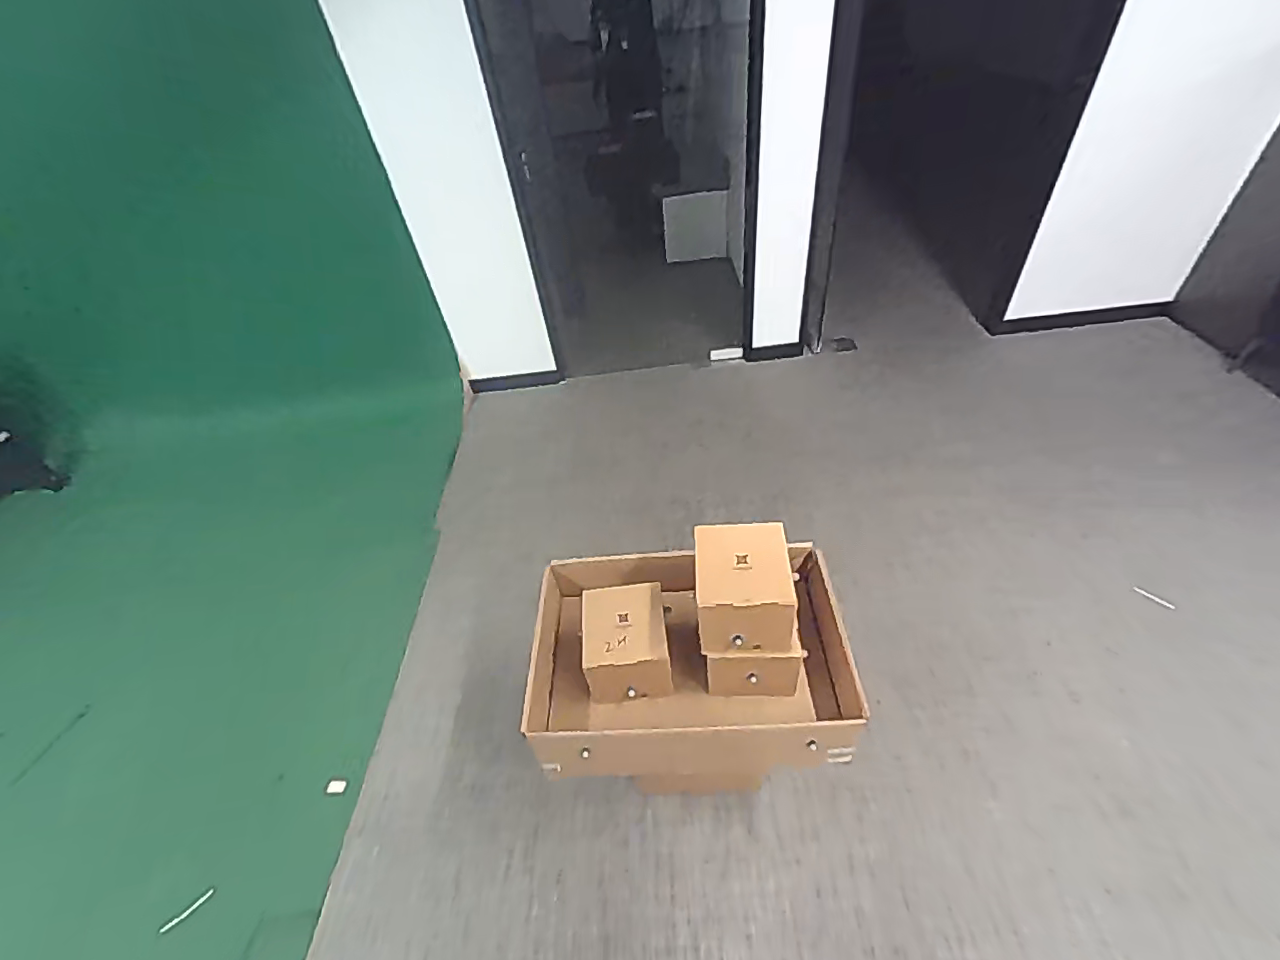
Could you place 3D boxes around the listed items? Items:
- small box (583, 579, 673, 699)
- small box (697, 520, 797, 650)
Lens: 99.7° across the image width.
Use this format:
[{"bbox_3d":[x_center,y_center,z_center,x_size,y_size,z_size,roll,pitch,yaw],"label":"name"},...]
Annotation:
[{"bbox_3d":[-0.024,0.331,1.128,0.168,0.176,0.179,-7,44,1],"label":"small box"},{"bbox_3d":[0.190,0.195,1.004,0.168,0.176,0.179,-3,44,7],"label":"small box"}]
